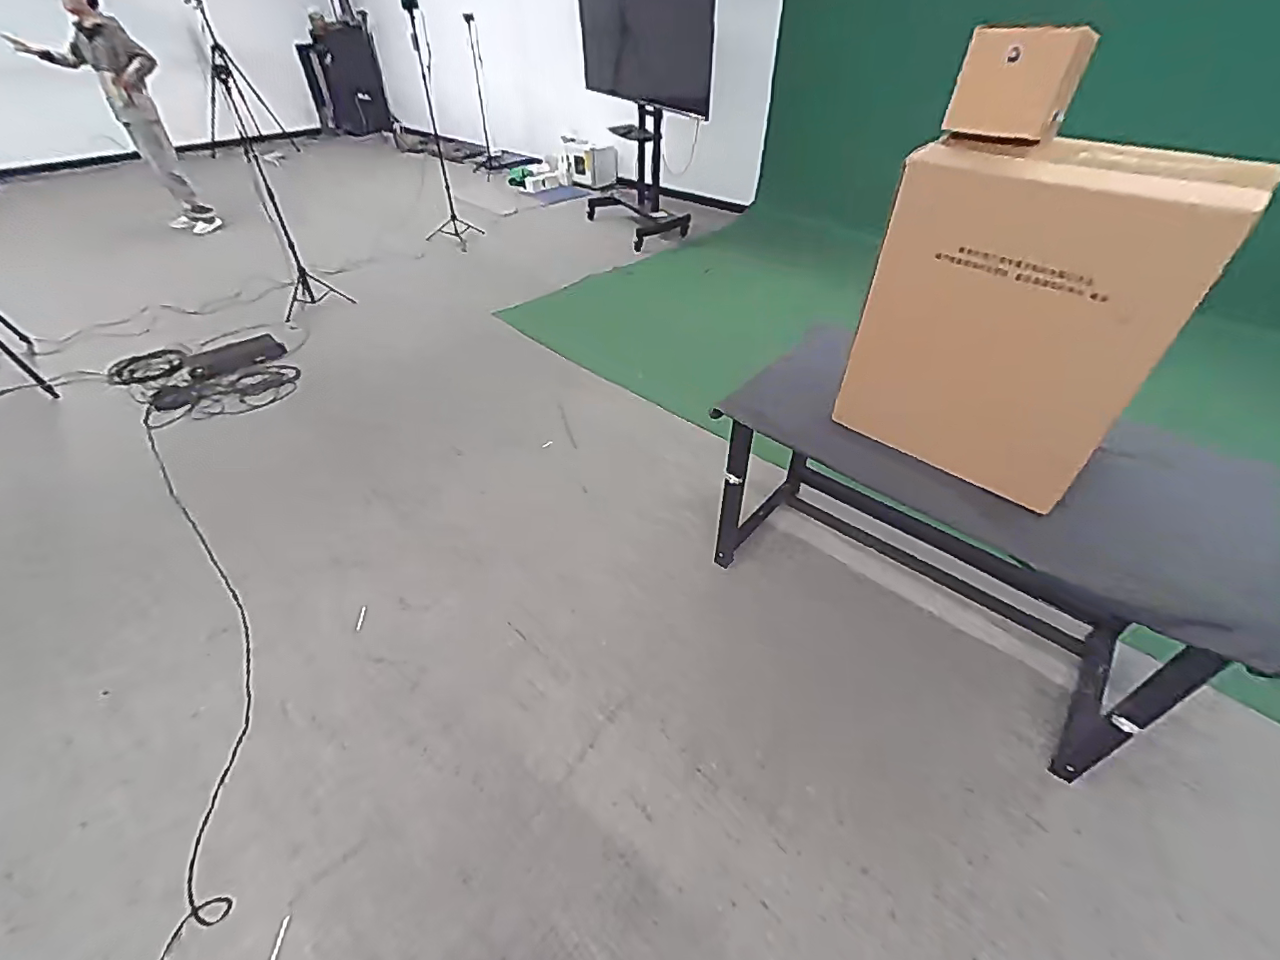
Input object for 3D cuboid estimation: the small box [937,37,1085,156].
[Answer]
[{"bbox_3d":[0.724,-0.753,1.069,0.179,0.176,0.168,32,43,29],"label":"small box"}]
